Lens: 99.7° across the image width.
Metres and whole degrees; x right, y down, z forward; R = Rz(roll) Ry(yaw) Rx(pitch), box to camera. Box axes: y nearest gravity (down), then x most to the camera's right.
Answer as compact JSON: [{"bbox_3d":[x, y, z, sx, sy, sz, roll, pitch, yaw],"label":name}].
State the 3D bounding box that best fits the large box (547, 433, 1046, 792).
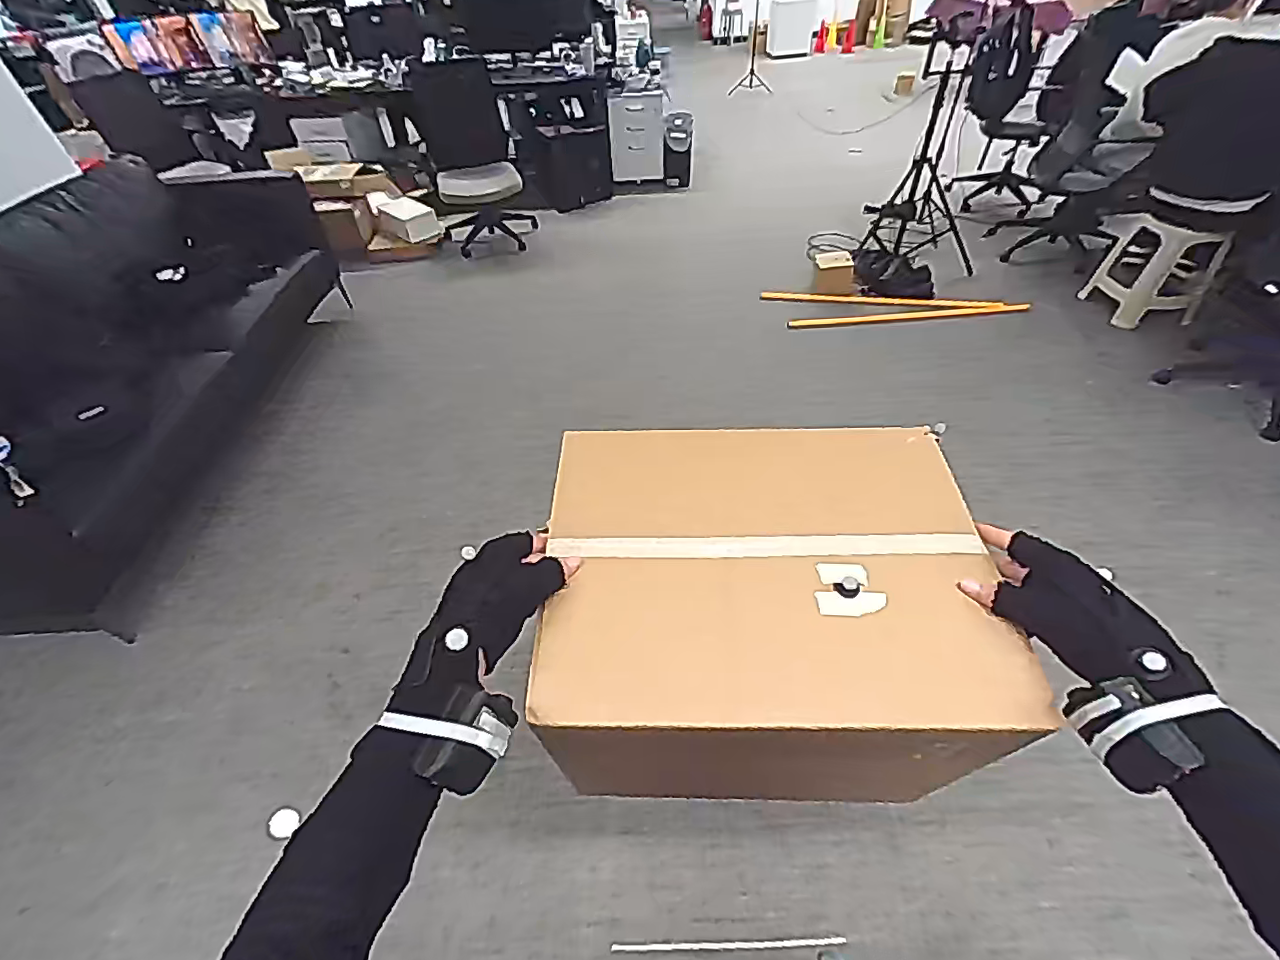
[{"bbox_3d":[0.124,0.161,0.633,0.408,0.320,0.320,0,52,1],"label":"large box"}]
